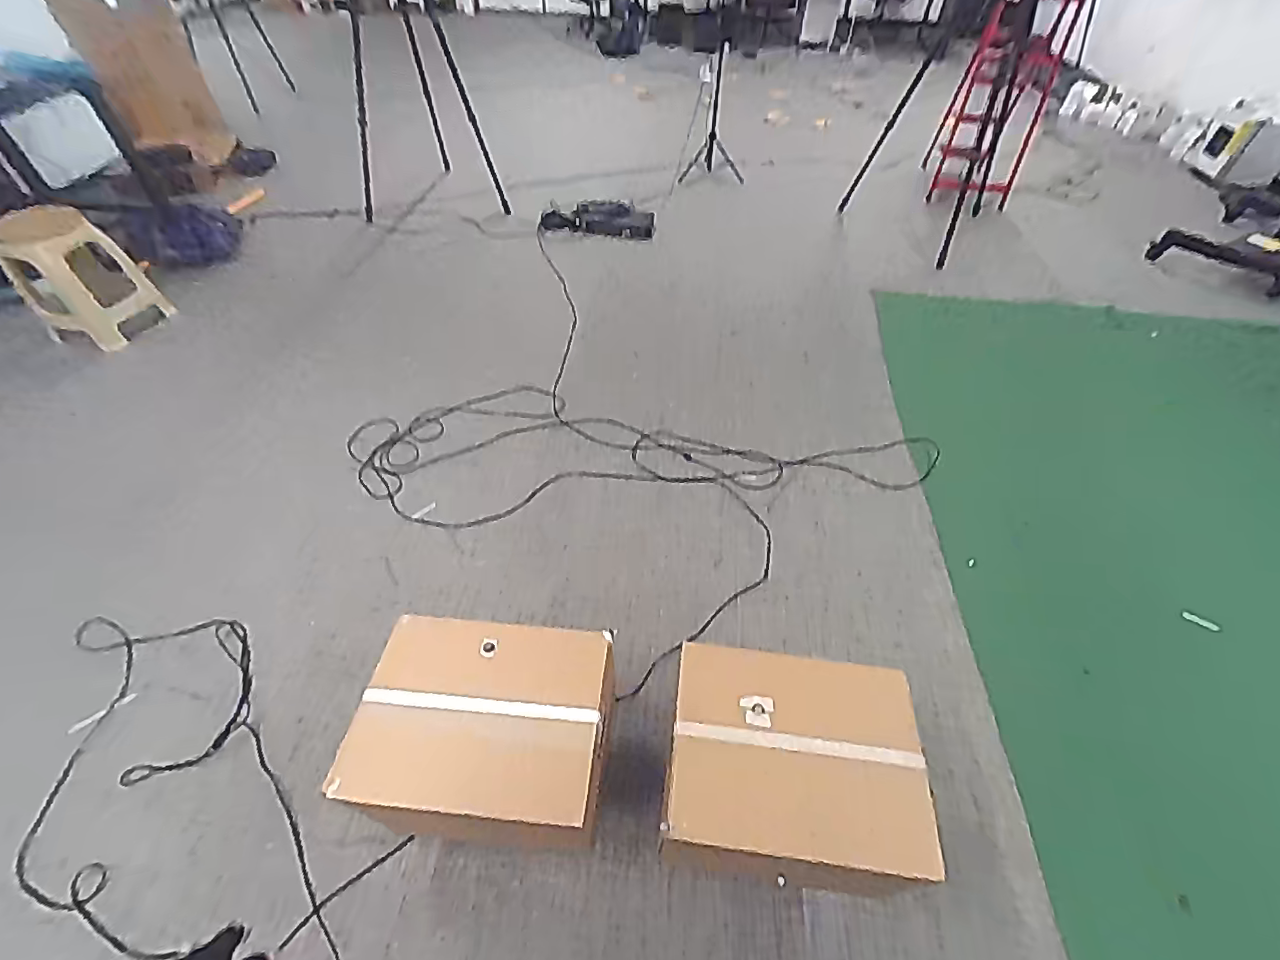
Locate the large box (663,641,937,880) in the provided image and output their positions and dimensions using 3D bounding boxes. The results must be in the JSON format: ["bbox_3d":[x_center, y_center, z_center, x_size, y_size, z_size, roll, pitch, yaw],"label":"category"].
[{"bbox_3d":[0.261,0.530,1.016,0.408,0.320,0.320,6,49,5],"label":"large box"}]
